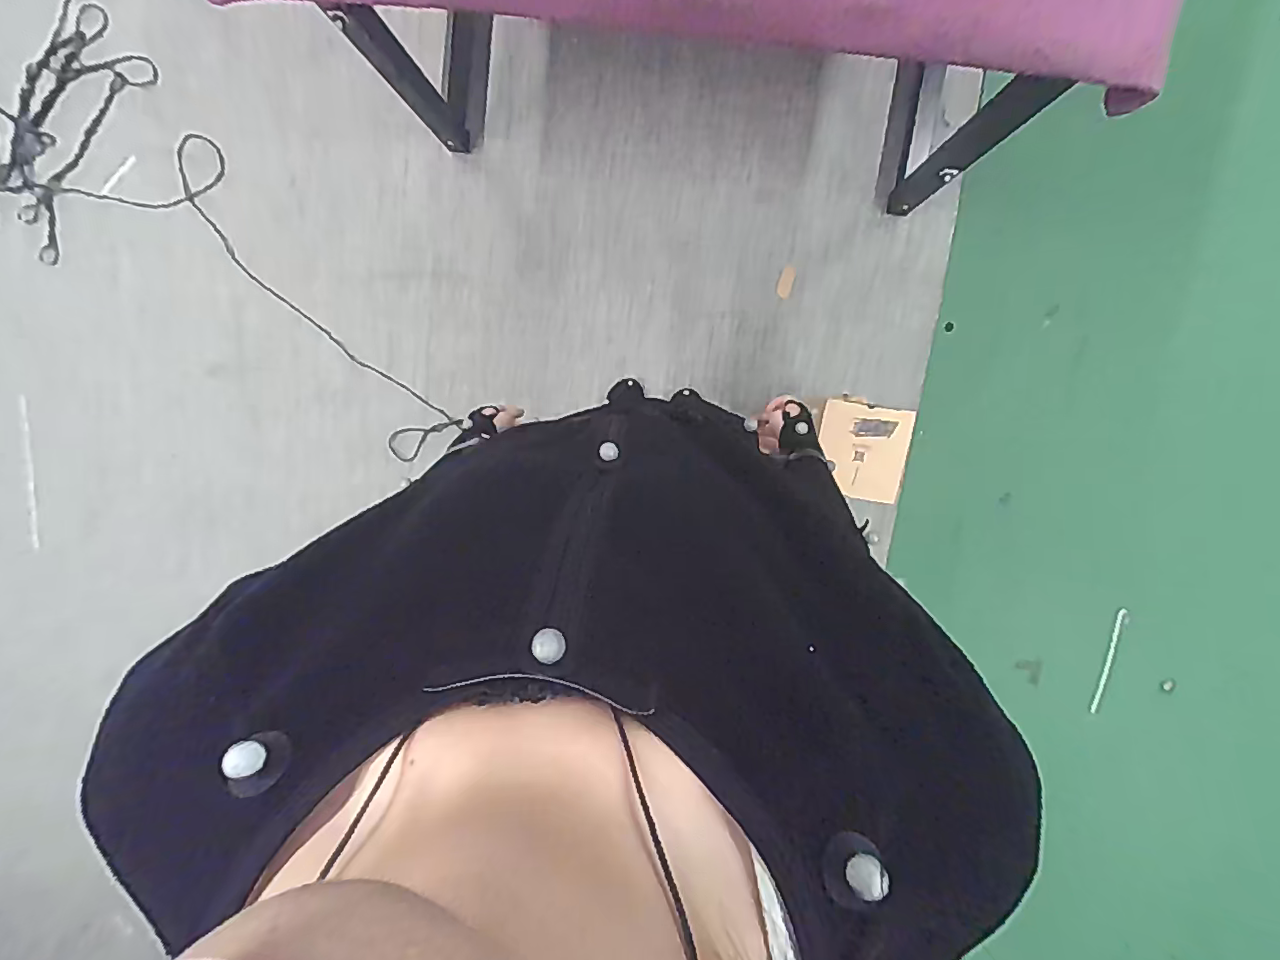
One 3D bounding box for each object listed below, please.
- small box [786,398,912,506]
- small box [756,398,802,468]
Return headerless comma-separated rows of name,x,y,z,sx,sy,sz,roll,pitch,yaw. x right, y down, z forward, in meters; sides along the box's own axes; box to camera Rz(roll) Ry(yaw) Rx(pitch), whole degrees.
small box,0.400,-0.063,1.066,0.168,0.176,0.179,10,100,1
small box,0.414,-0.106,1.391,0.179,0.176,0.168,18,99,0
